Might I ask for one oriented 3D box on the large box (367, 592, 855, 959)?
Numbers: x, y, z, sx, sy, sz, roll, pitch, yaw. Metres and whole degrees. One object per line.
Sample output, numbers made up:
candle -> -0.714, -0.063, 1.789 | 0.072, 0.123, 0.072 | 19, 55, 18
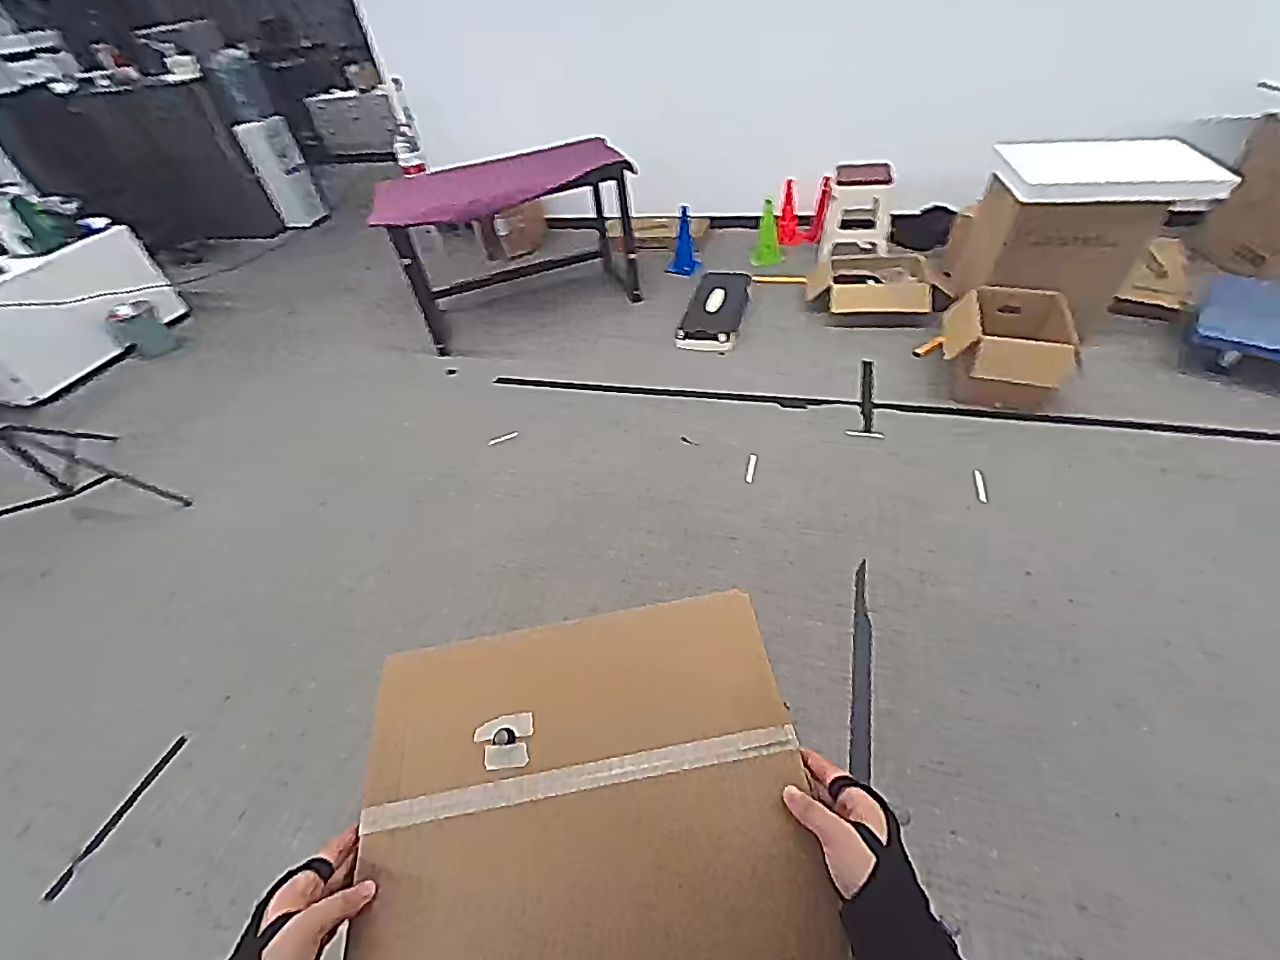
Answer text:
large box -> -0.029, 0.370, 0.627 | 0.408, 0.320, 0.320 | -11, 51, 0
